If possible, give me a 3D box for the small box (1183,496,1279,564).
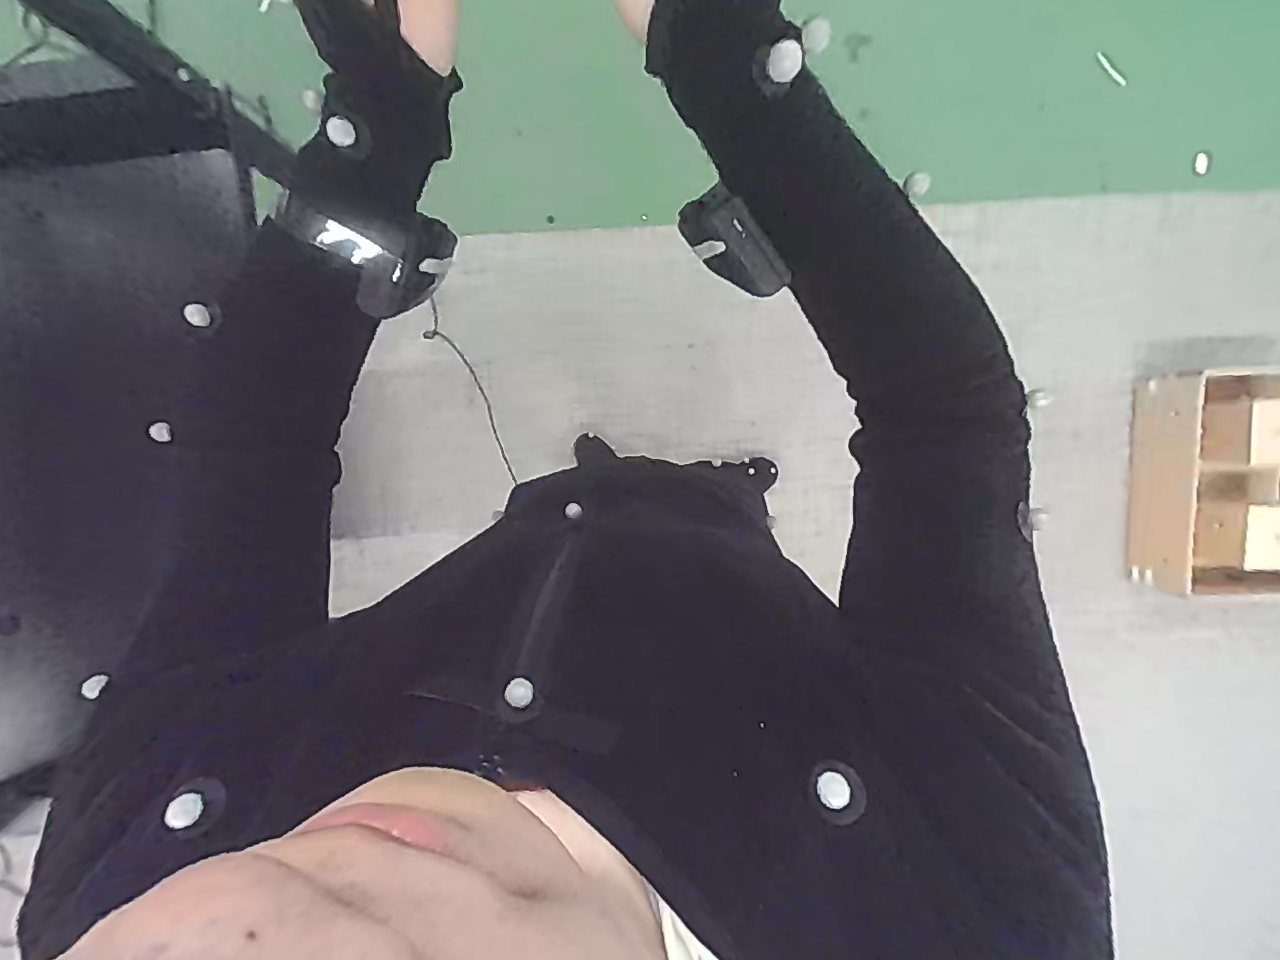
[{"bbox_3d":[1.665,0.136,1.491,0.179,0.176,0.168,0,94,1],"label":"small box"}]
